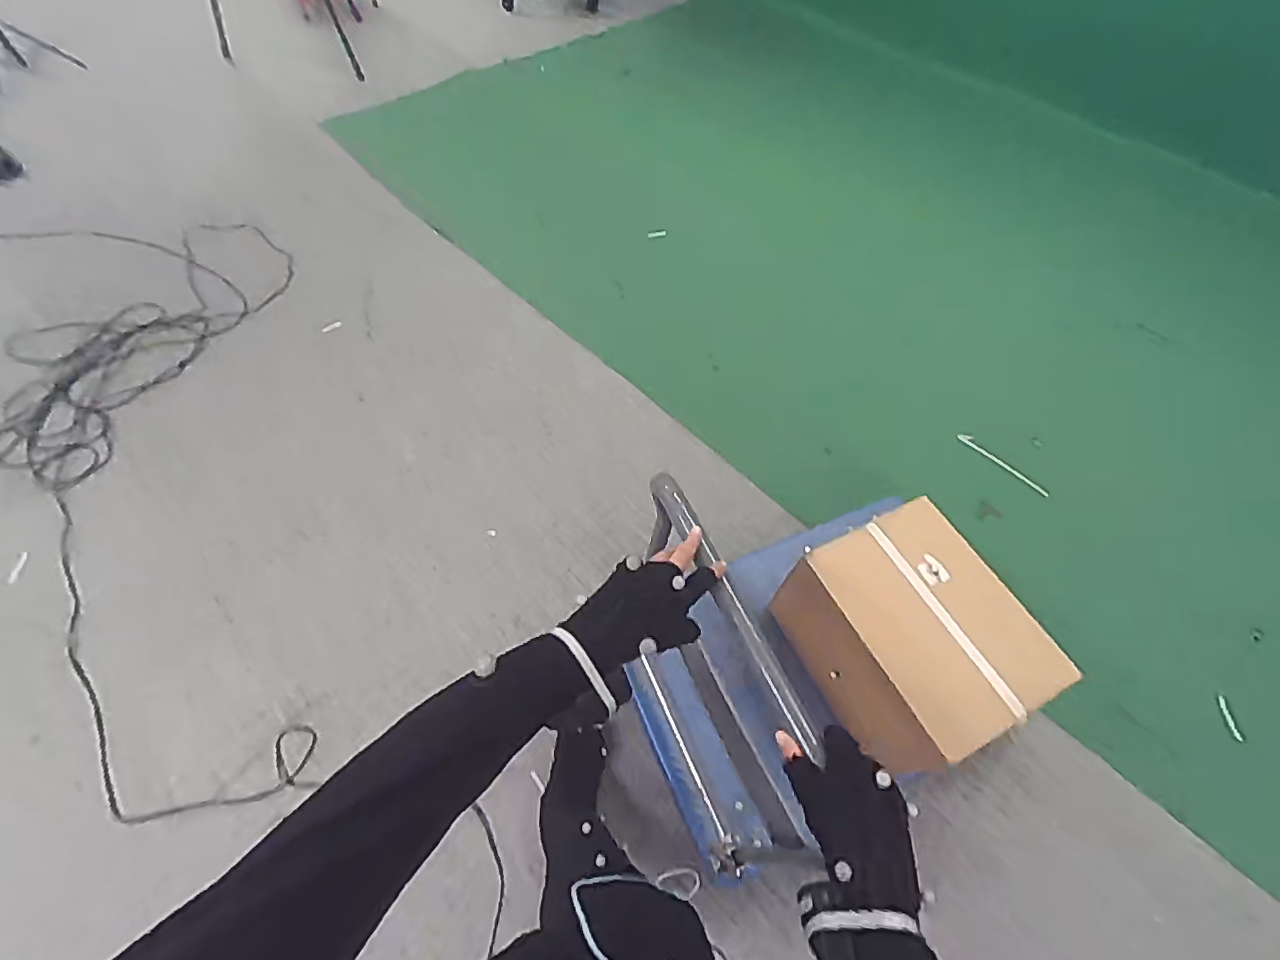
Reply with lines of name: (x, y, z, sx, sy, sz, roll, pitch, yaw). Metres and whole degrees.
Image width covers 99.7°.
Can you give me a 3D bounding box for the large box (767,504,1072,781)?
large box: (0.522, 0.332, 1.109, 0.320, 0.320, 0.408, -21, 60, -15)
